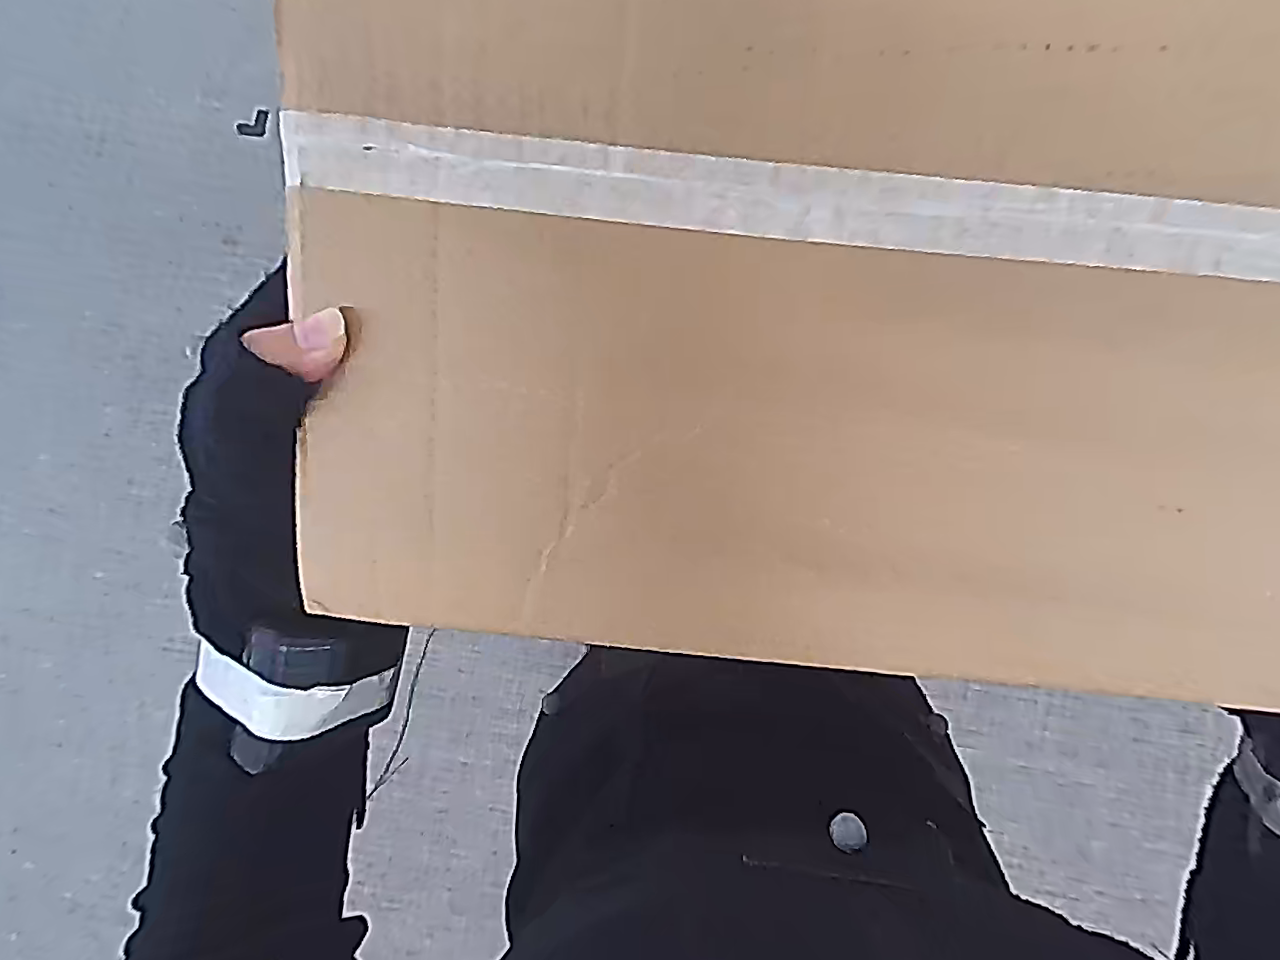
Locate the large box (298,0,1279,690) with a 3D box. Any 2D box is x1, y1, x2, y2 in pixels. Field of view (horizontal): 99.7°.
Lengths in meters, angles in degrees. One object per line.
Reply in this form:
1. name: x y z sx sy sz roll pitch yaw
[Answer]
1. large box: 0.090 -0.111 0.327 0.408 0.320 0.320 5 102 0
